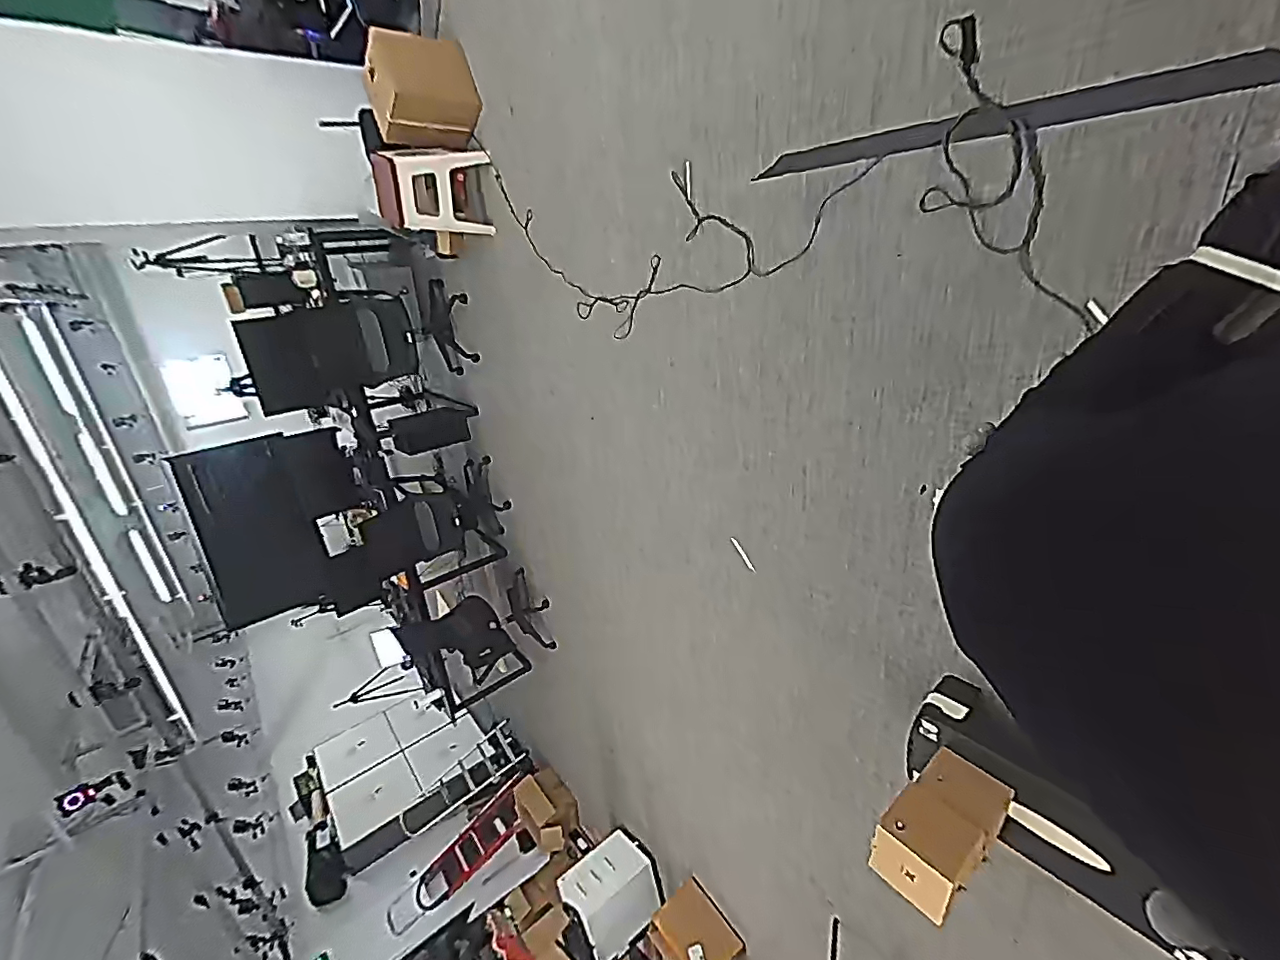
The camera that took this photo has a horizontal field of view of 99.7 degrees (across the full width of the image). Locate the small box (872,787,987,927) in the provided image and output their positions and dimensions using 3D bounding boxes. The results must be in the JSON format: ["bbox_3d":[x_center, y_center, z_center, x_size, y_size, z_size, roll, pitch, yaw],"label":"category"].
[{"bbox_3d":[0.678,0.869,1.266,0.179,0.176,0.168,26,128,46],"label":"small box"}]

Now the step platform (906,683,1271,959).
[{"bbox_3d":[1.035,0.822,1.349,0.684,0.204,0.286,21,125,47],"label":"step platform"}]
